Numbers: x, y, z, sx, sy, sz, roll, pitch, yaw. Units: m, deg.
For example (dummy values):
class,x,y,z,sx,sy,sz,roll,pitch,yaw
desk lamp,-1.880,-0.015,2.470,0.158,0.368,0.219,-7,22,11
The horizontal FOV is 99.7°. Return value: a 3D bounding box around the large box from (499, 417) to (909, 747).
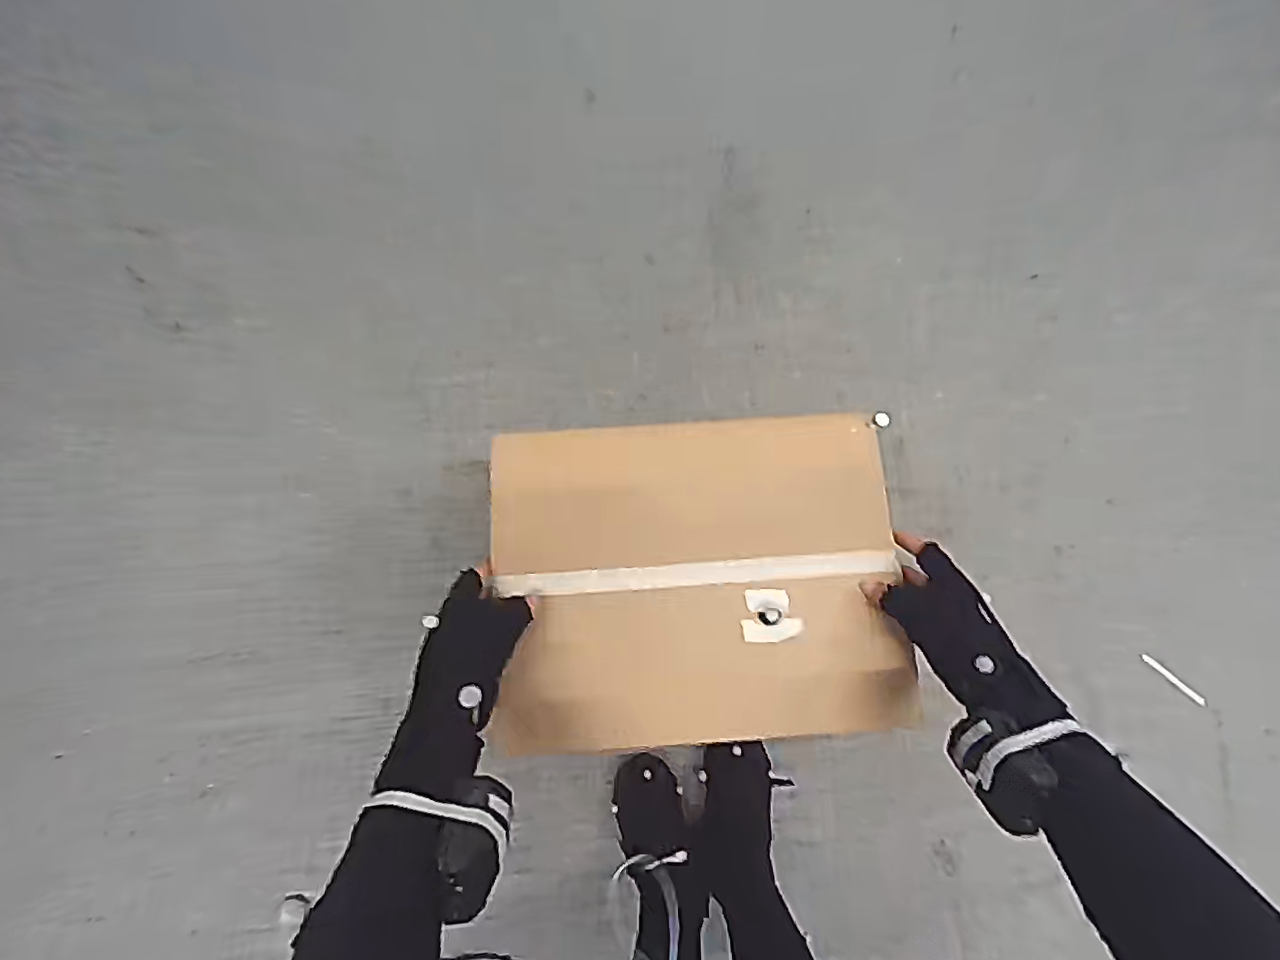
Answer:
class,x,y,z,sx,sy,sz,roll,pitch,yaw
large box,0.052,0.128,0.701,0.408,0.320,0.320,-4,77,-2
